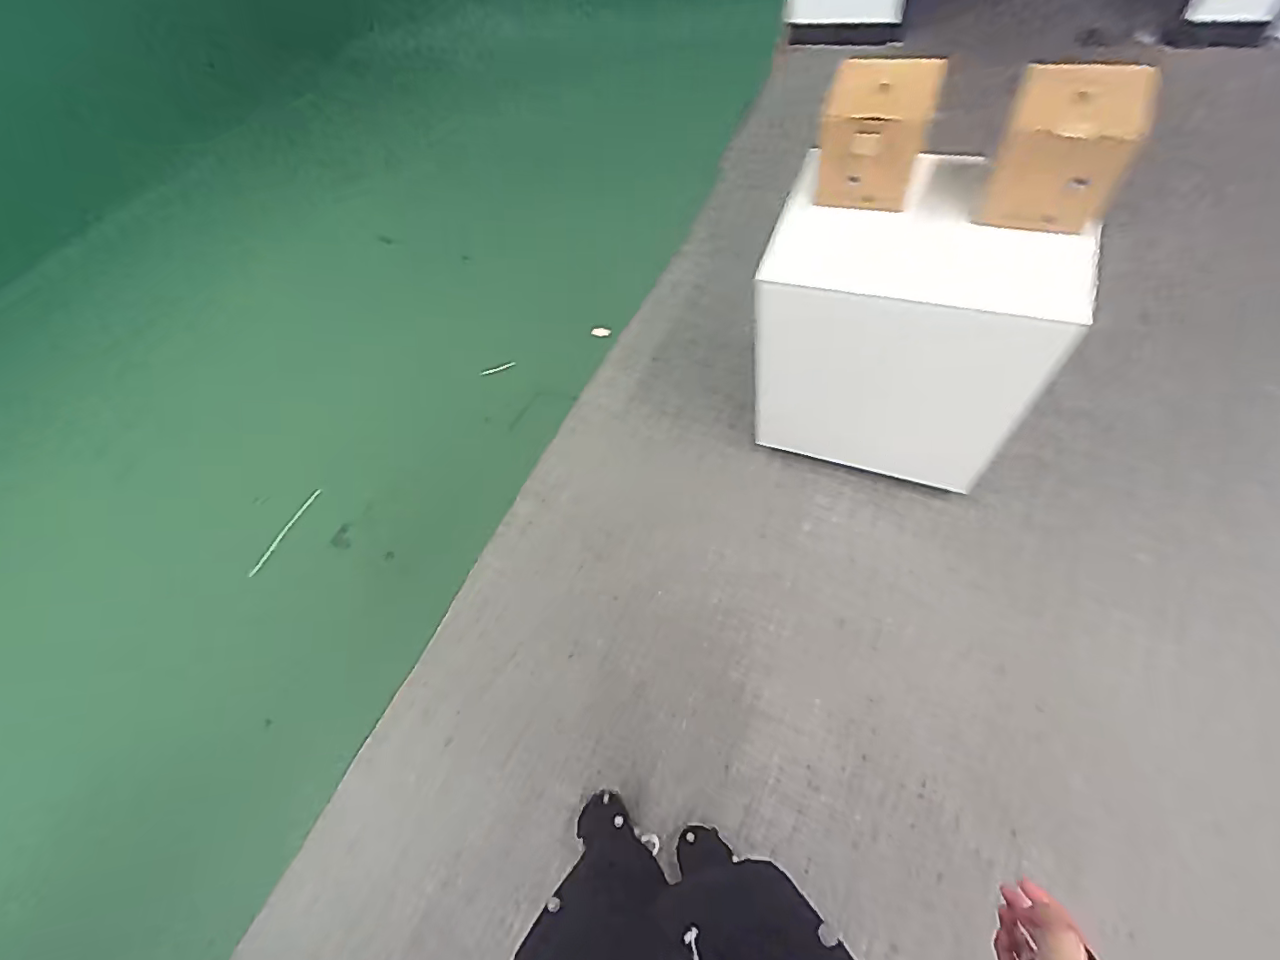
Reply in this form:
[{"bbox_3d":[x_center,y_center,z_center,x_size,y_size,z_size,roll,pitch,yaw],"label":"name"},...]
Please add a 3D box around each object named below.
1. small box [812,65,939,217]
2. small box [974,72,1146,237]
[{"bbox_3d":[0.420,-0.615,0.984,0.168,0.176,0.179,15,67,19],"label":"small box"},{"bbox_3d":[0.670,-0.526,0.880,0.168,0.176,0.179,18,66,21],"label":"small box"}]
